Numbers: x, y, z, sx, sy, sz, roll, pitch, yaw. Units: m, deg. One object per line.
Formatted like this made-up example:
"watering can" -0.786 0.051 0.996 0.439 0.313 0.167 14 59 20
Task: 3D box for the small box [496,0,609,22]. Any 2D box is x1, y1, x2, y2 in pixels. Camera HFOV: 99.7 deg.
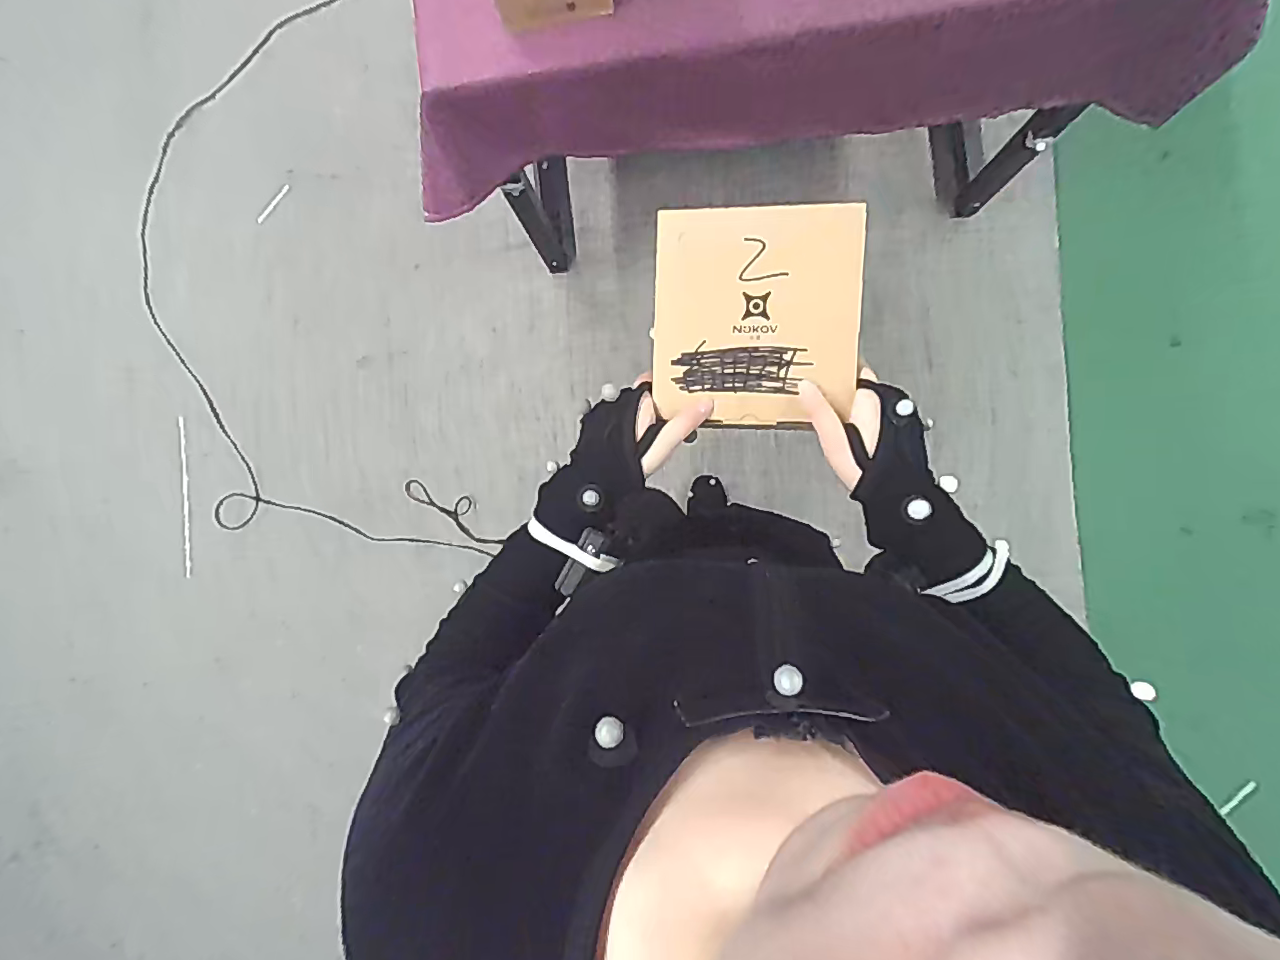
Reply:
"small box" -0.137 -0.767 0.729 0.168 0.176 0.179 -7 88 2
